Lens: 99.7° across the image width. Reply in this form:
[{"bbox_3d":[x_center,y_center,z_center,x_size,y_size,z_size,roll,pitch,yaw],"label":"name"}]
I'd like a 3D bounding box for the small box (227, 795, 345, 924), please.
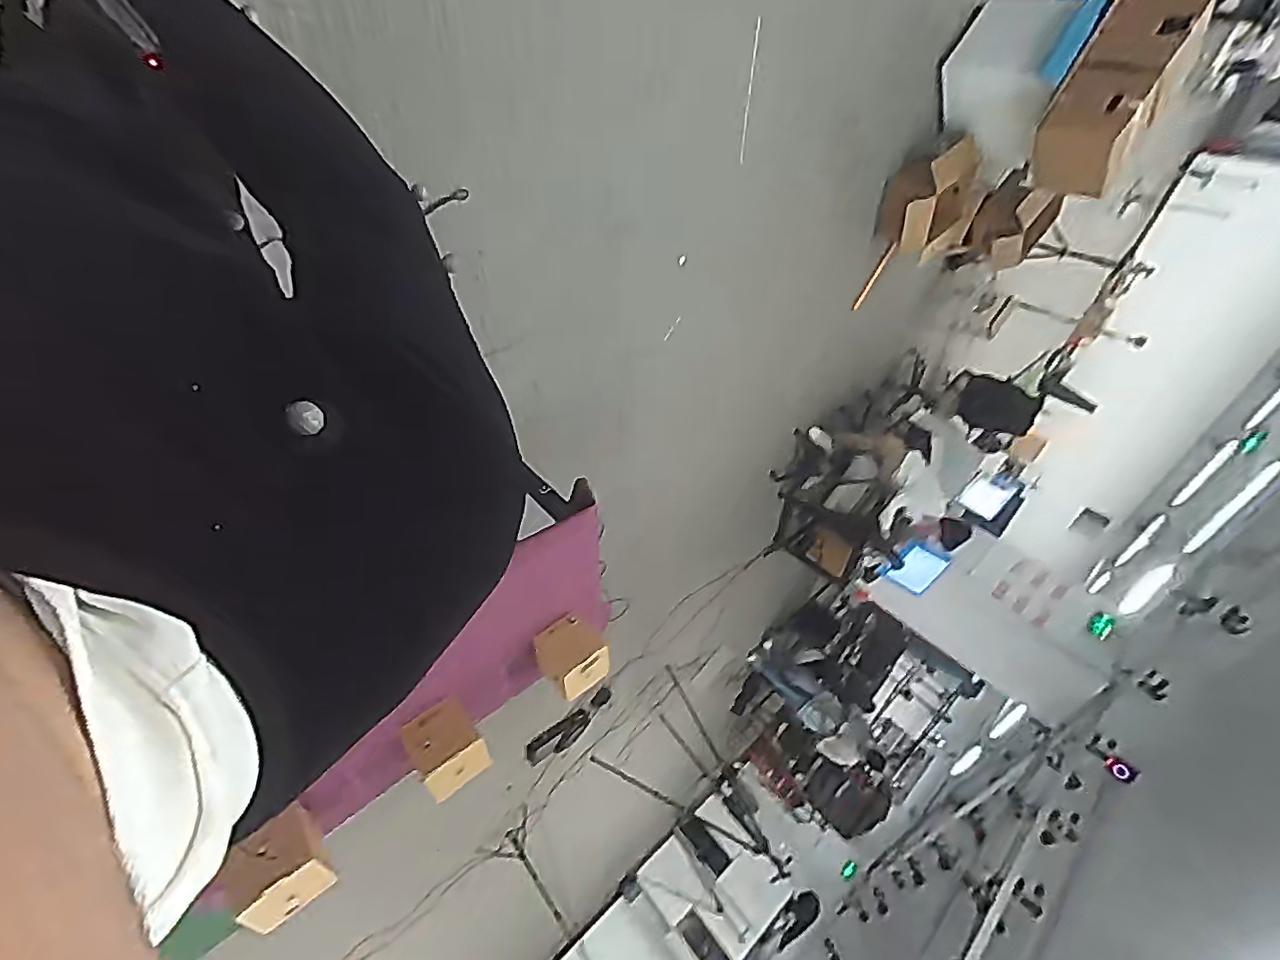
[{"bbox_3d":[-0.839,0.890,1.282,0.168,0.176,0.179,-29,139,-30],"label":"small box"}]

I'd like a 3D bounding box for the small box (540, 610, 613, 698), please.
[{"bbox_3d":[-0.201,0.538,1.700,0.168,0.176,0.179,-30,141,-28],"label":"small box"}]

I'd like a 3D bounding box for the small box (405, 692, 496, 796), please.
[{"bbox_3d":[-0.524,0.723,1.498,0.168,0.176,0.179,-29,140,-29],"label":"small box"}]
